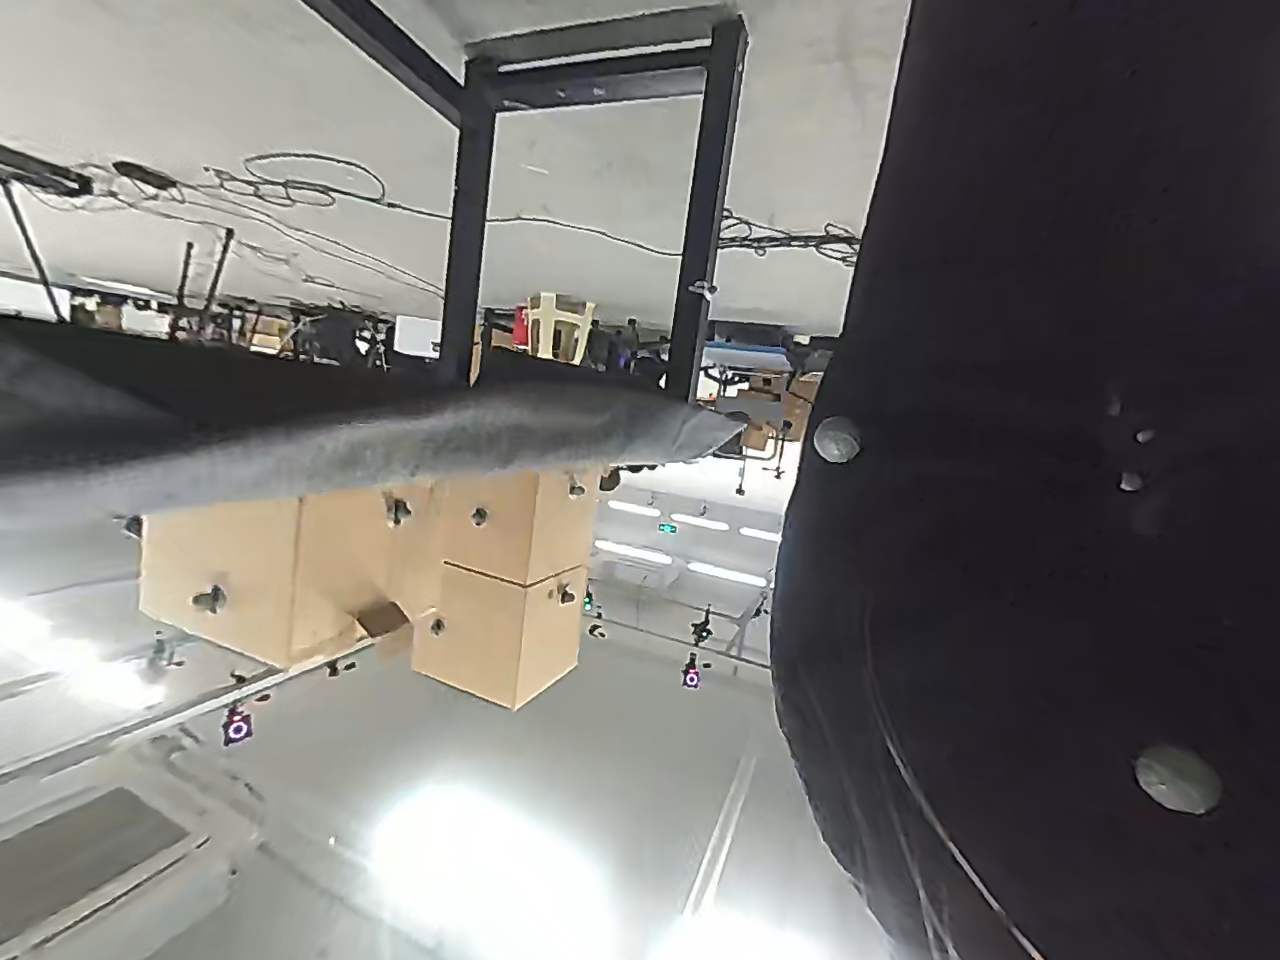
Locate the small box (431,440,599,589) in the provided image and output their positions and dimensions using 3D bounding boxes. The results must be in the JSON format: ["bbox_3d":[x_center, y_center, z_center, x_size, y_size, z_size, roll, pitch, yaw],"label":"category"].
[{"bbox_3d":[-0.174,0.035,0.753,0.179,0.176,0.168,10,-174,22],"label":"small box"}]

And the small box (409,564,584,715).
[{"bbox_3d":[-0.196,0.195,0.770,0.179,0.176,0.168,10,-173,23],"label":"small box"}]

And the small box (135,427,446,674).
[{"bbox_3d":[-0.300,0.043,0.488,0.179,0.176,0.168,10,-174,19],"label":"small box"}]
